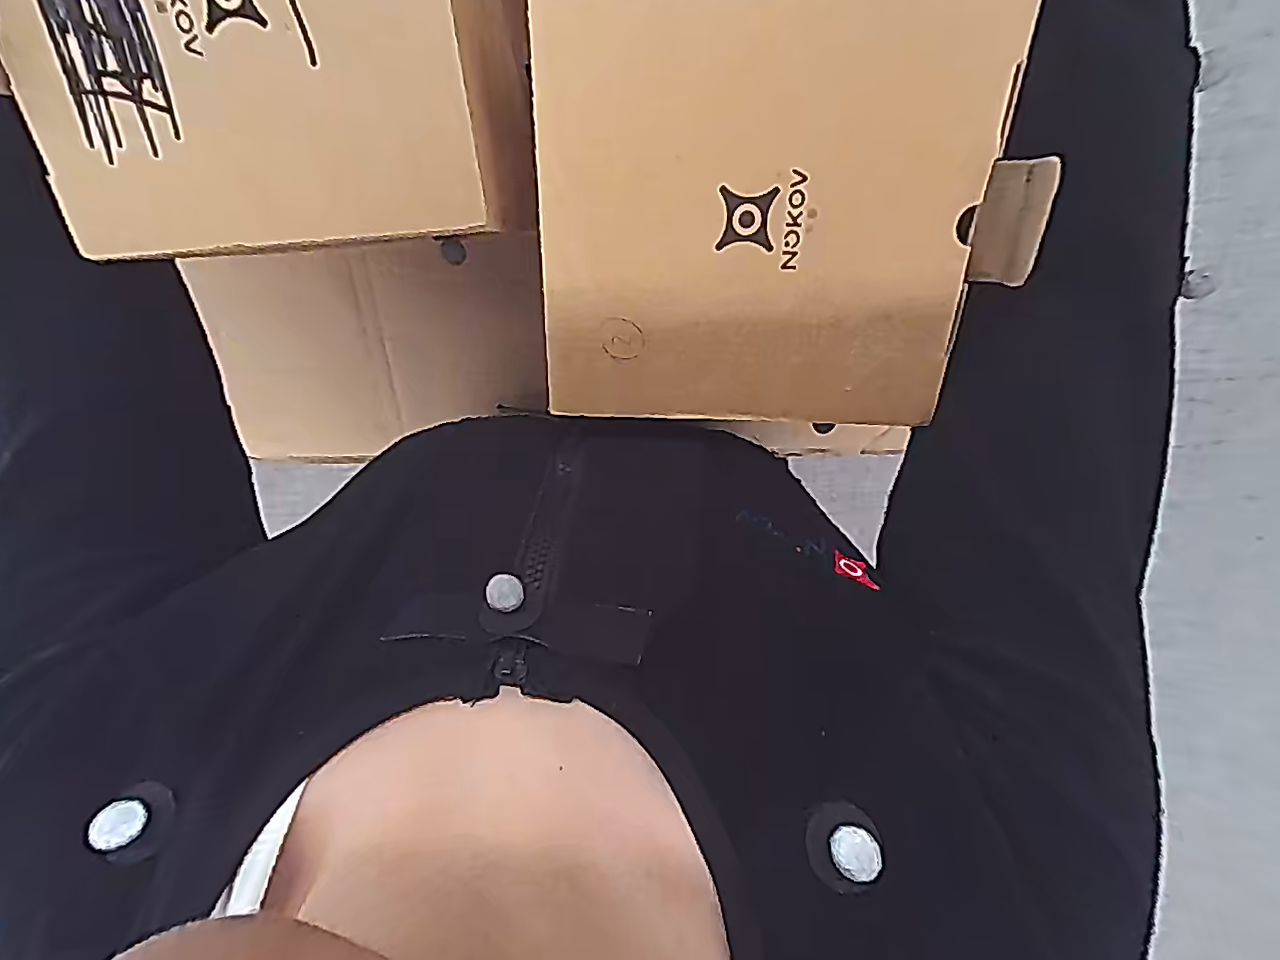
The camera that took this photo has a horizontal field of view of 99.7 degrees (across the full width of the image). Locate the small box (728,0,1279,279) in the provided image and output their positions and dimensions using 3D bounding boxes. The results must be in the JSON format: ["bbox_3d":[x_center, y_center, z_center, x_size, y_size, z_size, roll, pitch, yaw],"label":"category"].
[{"bbox_3d":[0.149,-0.202,0.236,0.179,0.176,0.168,13,121,-4],"label":"small box"}]
